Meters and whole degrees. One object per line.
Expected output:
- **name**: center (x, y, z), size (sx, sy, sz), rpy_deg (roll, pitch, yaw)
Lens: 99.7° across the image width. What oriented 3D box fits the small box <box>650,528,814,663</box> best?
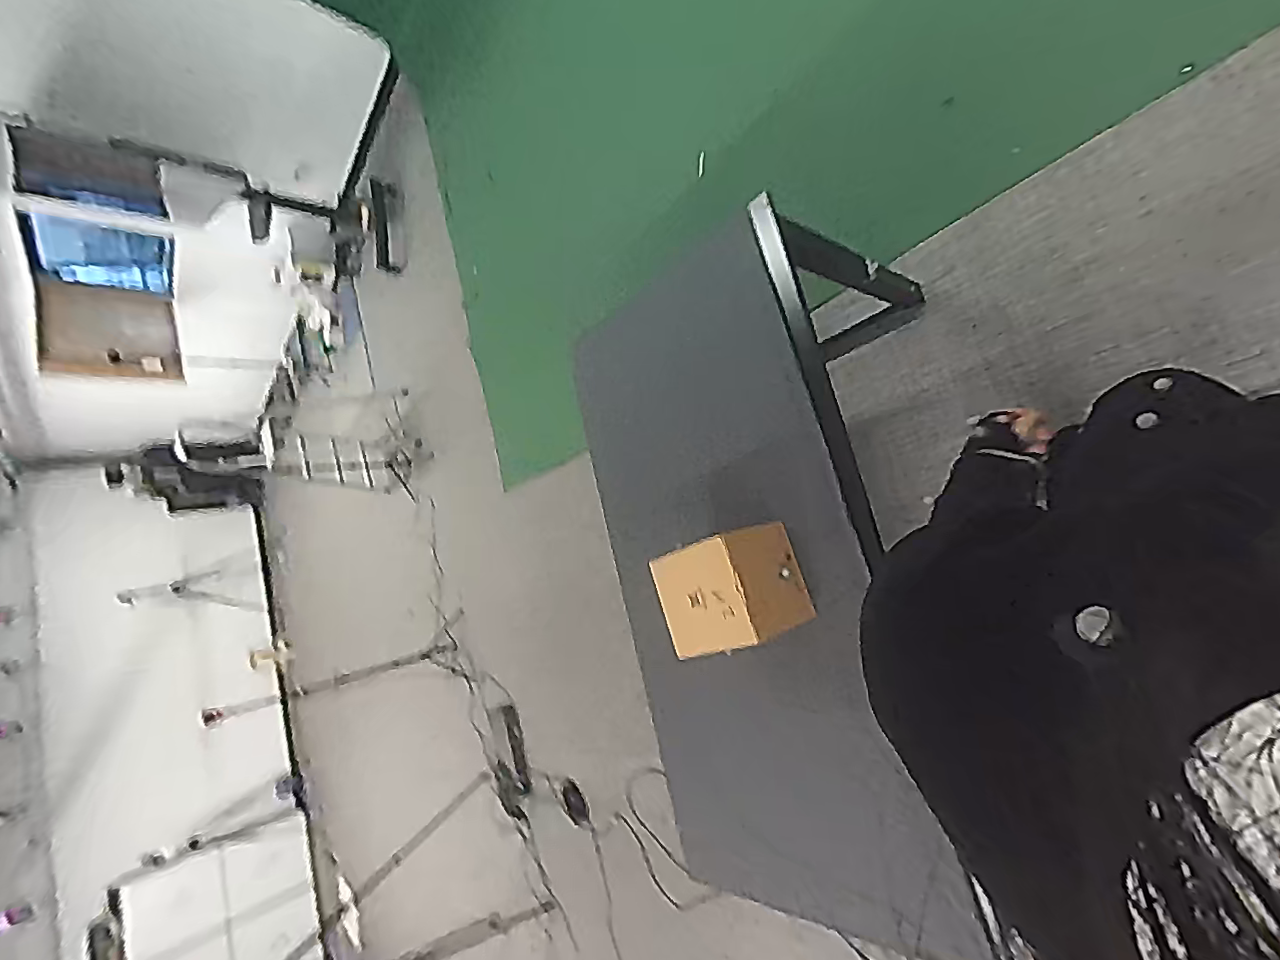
- **small box**: center (0.150, 0.188, 0.889), size (0.179, 0.176, 0.168), rpy_deg (-31, 71, 44)
